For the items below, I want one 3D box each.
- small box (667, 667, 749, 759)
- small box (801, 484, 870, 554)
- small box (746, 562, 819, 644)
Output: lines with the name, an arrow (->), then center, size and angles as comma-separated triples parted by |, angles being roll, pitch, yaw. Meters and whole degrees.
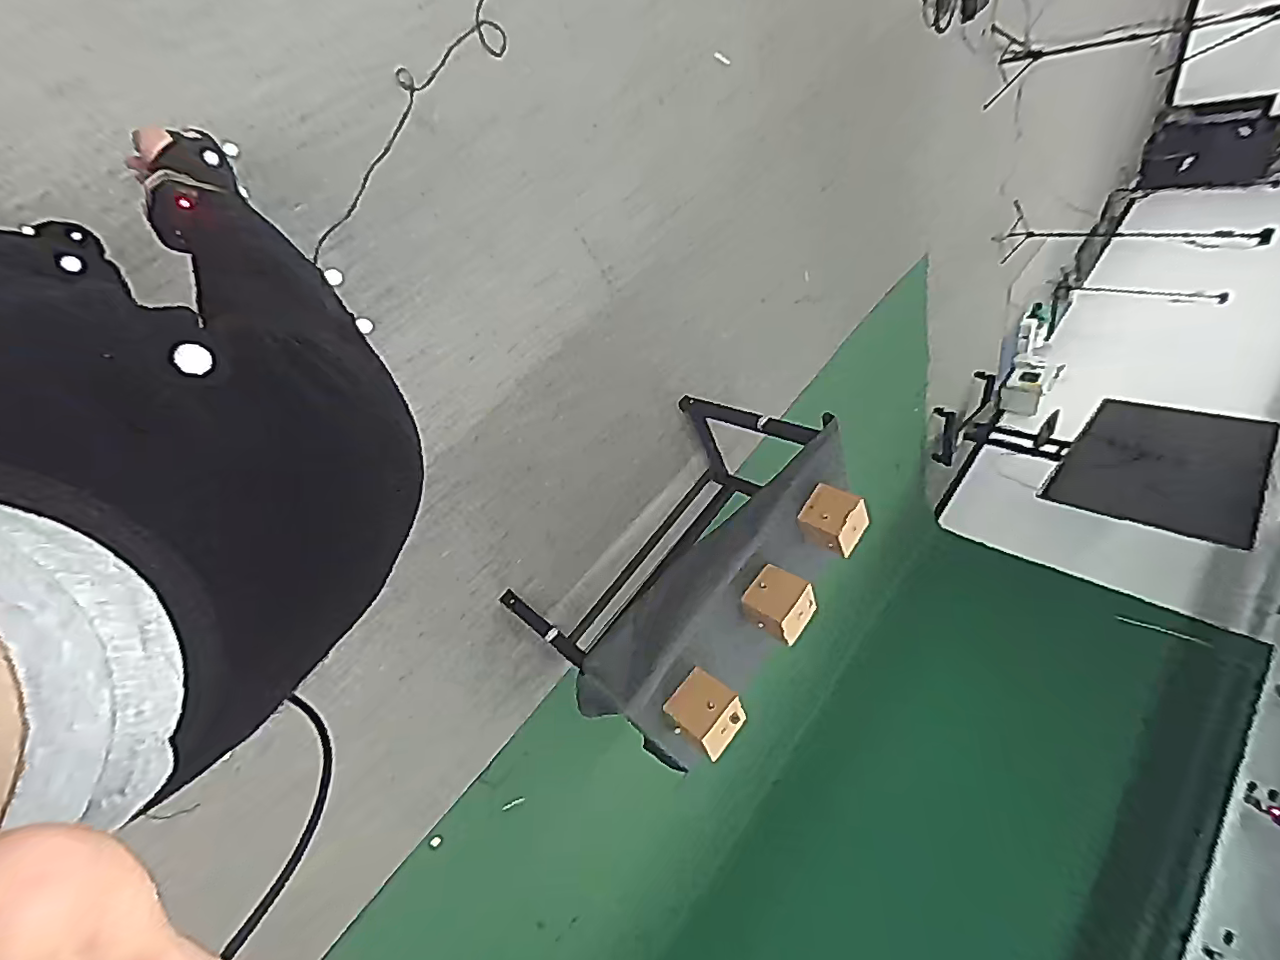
small box -> 0.215, 0.728, 1.709 | 0.179, 0.176, 0.168 | -43, 133, -23
small box -> 0.699, 0.133, 1.940 | 0.168, 0.176, 0.179 | -53, 139, -12
small box -> 0.480, 0.414, 1.842 | 0.179, 0.176, 0.168 | -46, 135, -20
